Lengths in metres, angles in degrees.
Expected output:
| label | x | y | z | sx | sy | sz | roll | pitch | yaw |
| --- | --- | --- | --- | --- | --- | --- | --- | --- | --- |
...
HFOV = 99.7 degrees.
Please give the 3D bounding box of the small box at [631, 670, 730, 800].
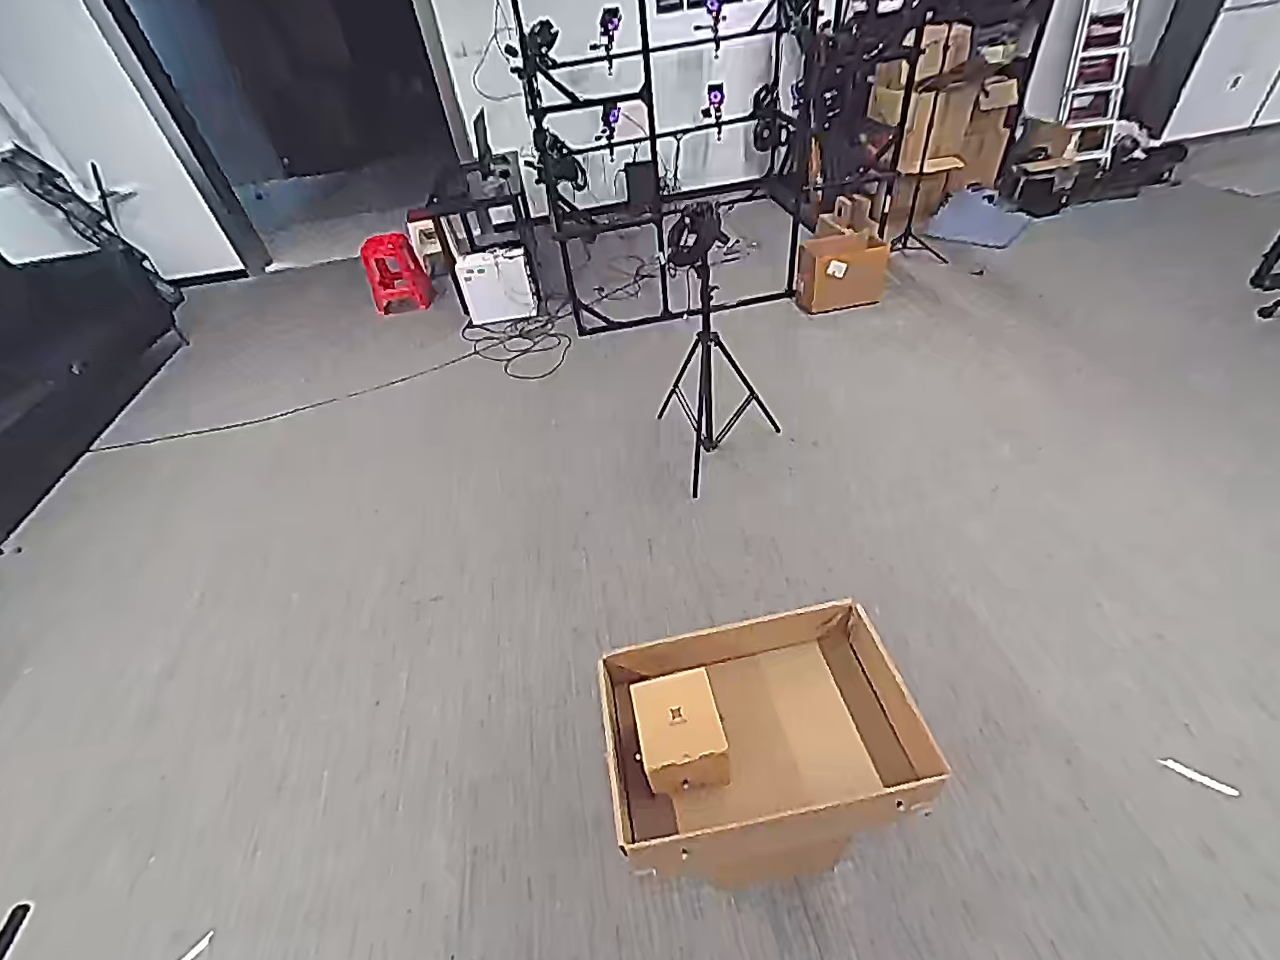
| label | x | y | z | sx | sy | sz | roll | pitch | yaw |
| --- | --- | --- | --- | --- | --- | --- | --- | --- | --- |
| small box | 0.084 | 0.532 | 1.129 | 0.168 | 0.176 | 0.179 | -13 | 43 | -3 |
